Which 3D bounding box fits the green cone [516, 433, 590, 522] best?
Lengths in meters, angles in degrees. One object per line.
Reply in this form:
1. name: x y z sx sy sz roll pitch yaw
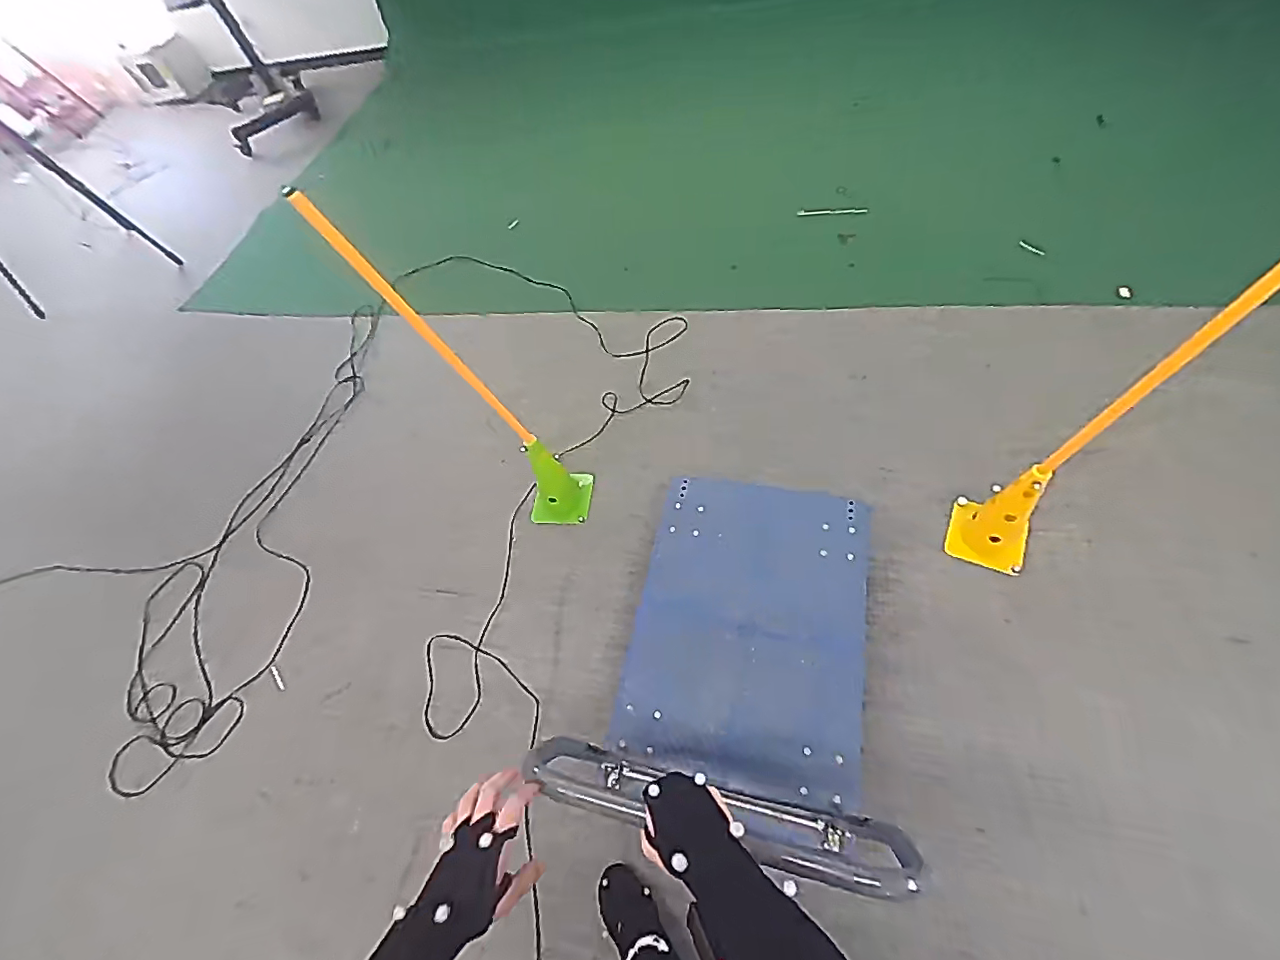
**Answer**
1. green cone: -0.310 -0.034 1.742 0.202 0.368 0.200 -1 58 12
